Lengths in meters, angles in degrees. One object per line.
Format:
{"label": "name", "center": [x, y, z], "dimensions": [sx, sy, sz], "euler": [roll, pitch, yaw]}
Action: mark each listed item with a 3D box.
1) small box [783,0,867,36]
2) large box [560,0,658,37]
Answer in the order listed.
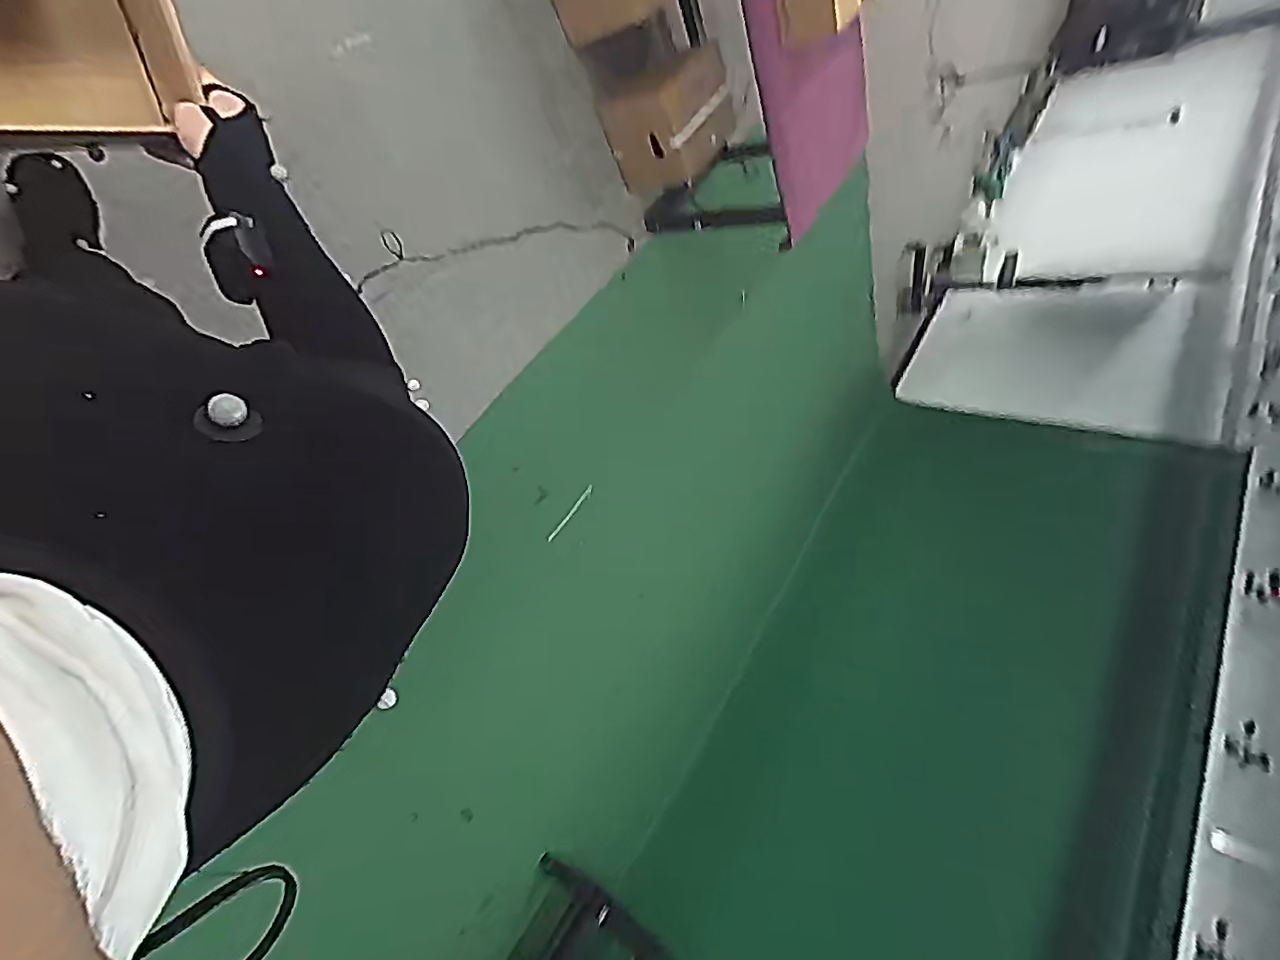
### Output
{"label": "small box", "center": [0.500, -1.348, 1.462], "dimensions": [0.179, 0.176, 0.168], "euler": [-53, 138, -24]}
{"label": "large box", "center": [-0.063, -1.704, 1.709], "dimensions": [0.408, 0.320, 0.320], "euler": [-55, 140, -22]}
